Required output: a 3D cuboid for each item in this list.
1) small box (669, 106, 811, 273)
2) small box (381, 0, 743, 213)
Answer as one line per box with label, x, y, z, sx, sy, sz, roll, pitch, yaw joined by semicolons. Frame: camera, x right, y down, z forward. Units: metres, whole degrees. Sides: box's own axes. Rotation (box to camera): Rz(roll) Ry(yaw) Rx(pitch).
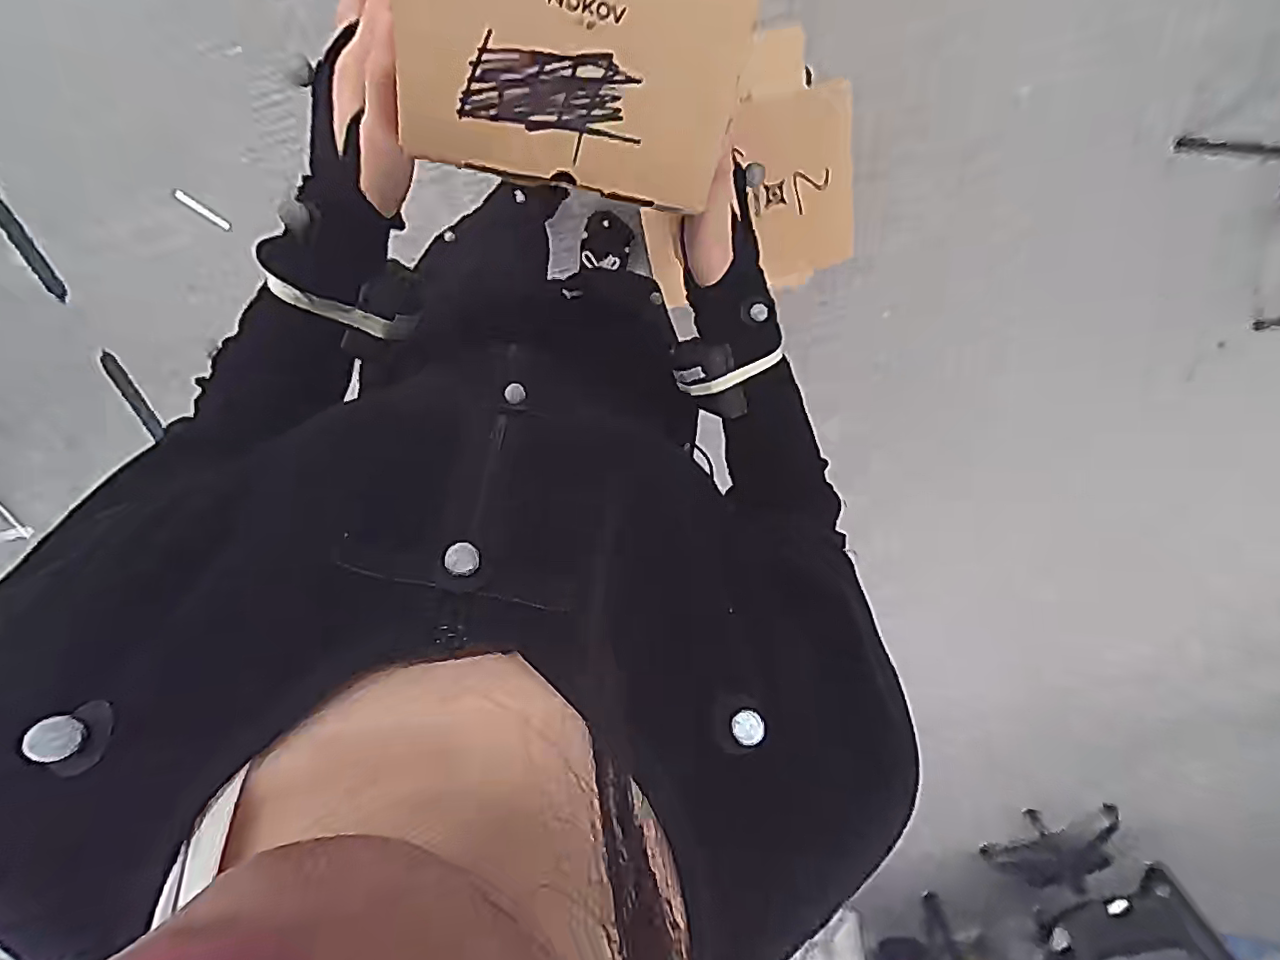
small box;0.129;-0.407;0.763;0.179;0.176;0.168;-10;119;7
small box;-0.044;-0.277;0.307;0.168;0.176;0.179;3;126;-15
